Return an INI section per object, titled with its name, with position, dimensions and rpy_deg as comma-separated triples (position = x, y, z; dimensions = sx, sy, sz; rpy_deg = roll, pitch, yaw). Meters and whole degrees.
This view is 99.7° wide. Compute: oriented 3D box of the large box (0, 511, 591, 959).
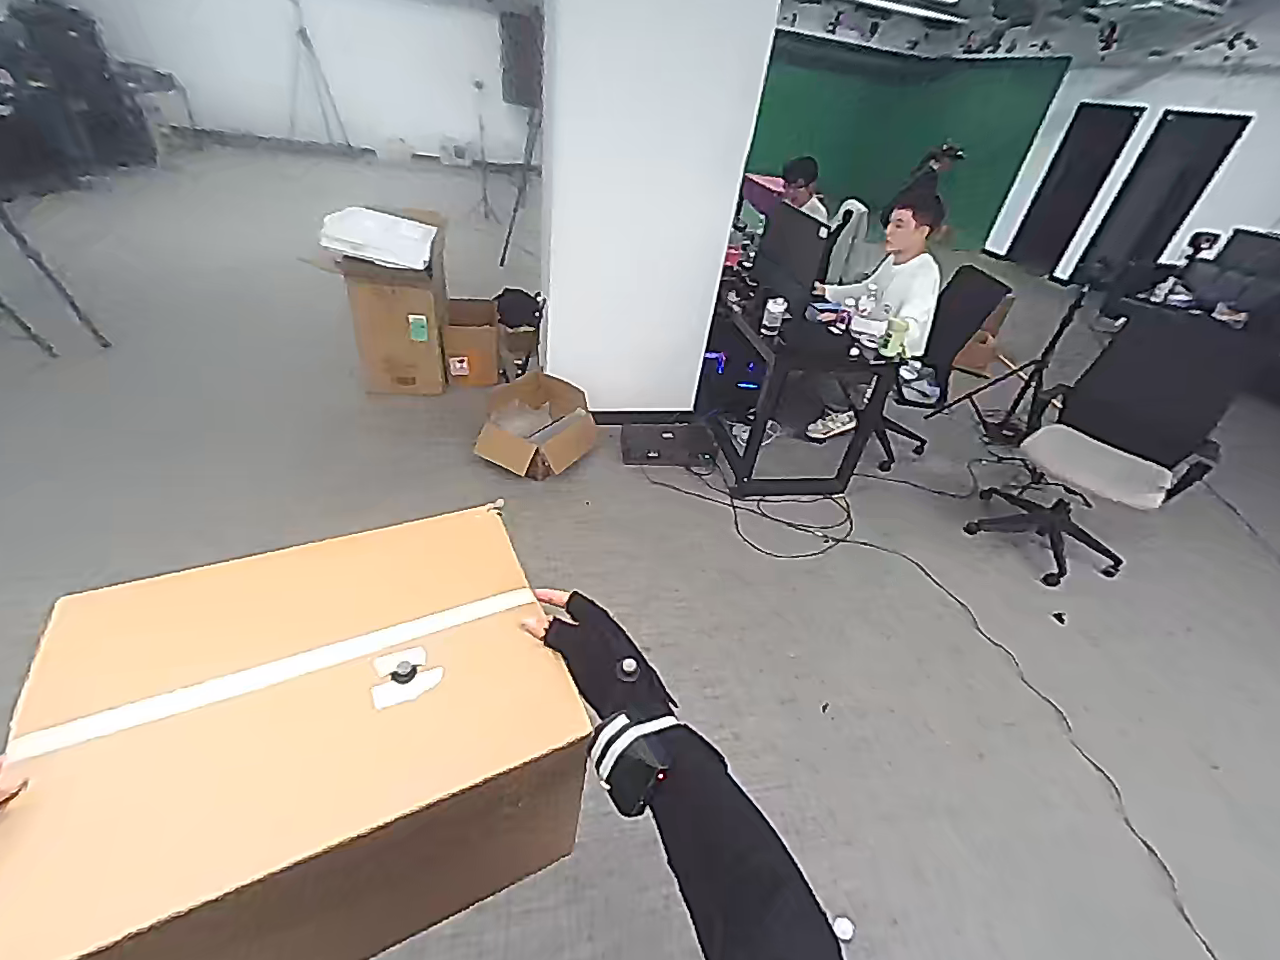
[large box]
position = -0.306, 0.285, 0.593
dimensions = 0.408, 0.320, 0.320
rpy_deg = -13, 44, -26
